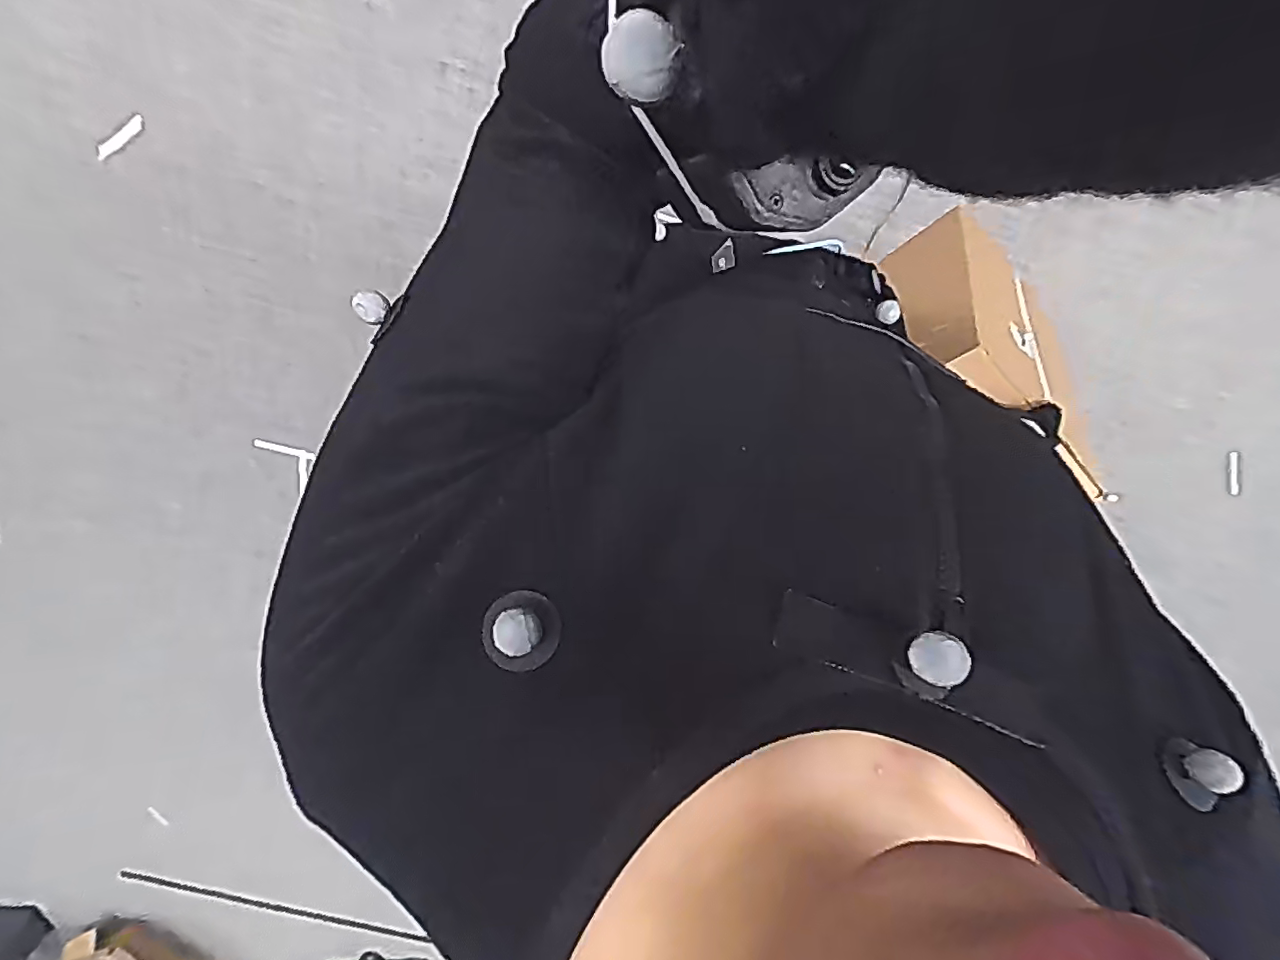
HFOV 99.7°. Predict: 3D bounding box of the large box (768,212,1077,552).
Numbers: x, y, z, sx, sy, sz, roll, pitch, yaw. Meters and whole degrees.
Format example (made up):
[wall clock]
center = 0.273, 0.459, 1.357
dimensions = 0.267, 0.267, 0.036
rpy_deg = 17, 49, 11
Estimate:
[large box]
center = 0.458, -0.151, 0.913
dimensions = 0.320, 0.408, 0.320
rpy_deg = 38, 141, -18
